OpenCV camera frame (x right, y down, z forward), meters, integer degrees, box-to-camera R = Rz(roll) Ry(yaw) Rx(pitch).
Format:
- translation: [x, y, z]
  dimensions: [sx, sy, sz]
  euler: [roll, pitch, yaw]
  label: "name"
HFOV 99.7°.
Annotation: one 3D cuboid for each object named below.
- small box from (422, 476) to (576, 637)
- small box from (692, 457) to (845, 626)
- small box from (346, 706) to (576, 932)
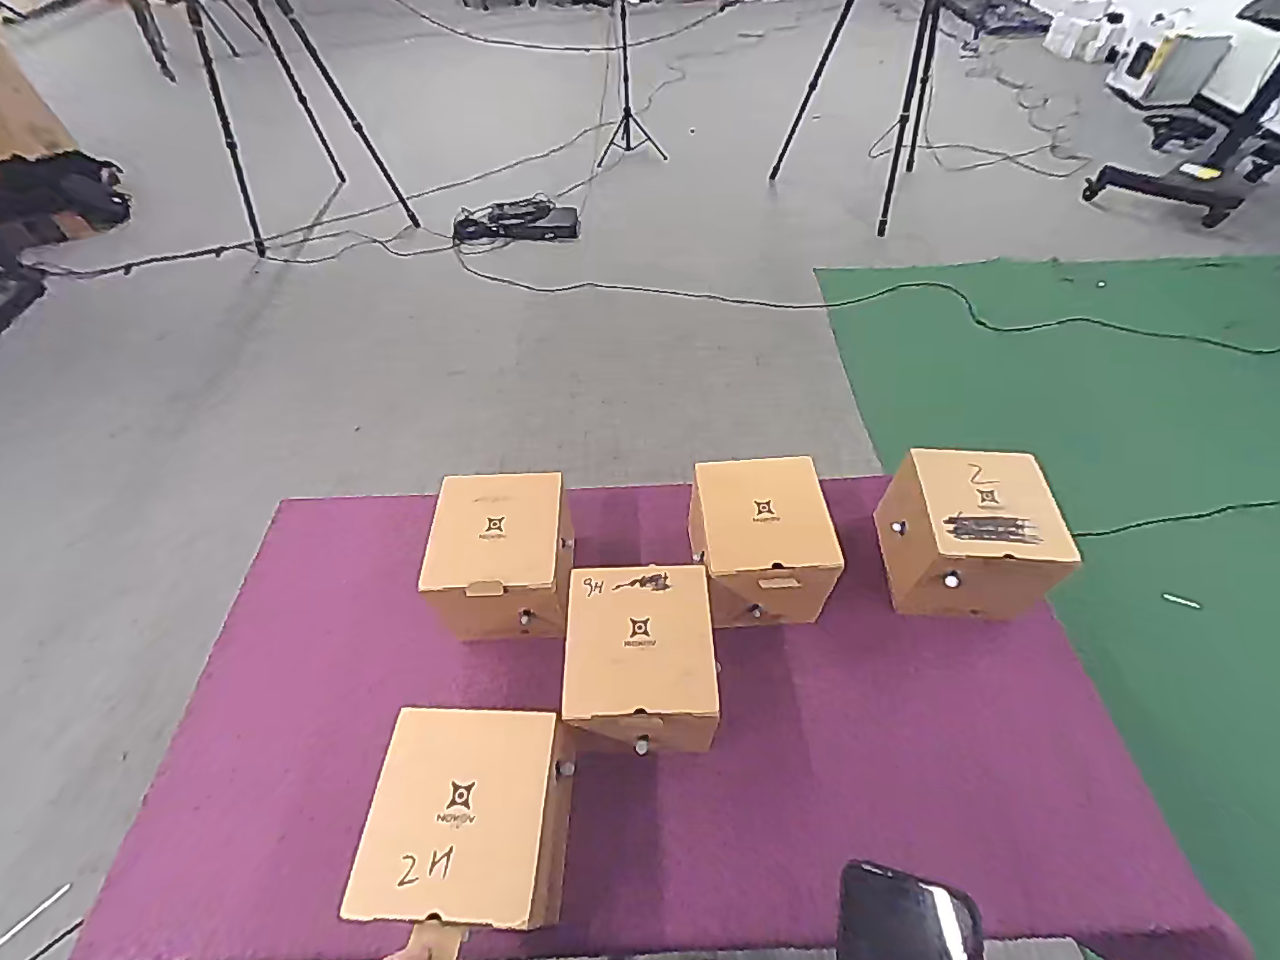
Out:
- translation: [-0.183, 0.114, 0.764]
  dimensions: [0.168, 0.176, 0.179]
  euler: [-2, 52, 0]
  label: "small box"
- translation: [0.166, 0.090, 0.768]
  dimensions: [0.168, 0.176, 0.179]
  euler: [-4, 53, -1]
  label: "small box"
- translation: [-0.165, 0.357, 0.571]
  dimensions: [0.168, 0.176, 0.179]
  euler: [1, 52, 4]
  label: "small box"
